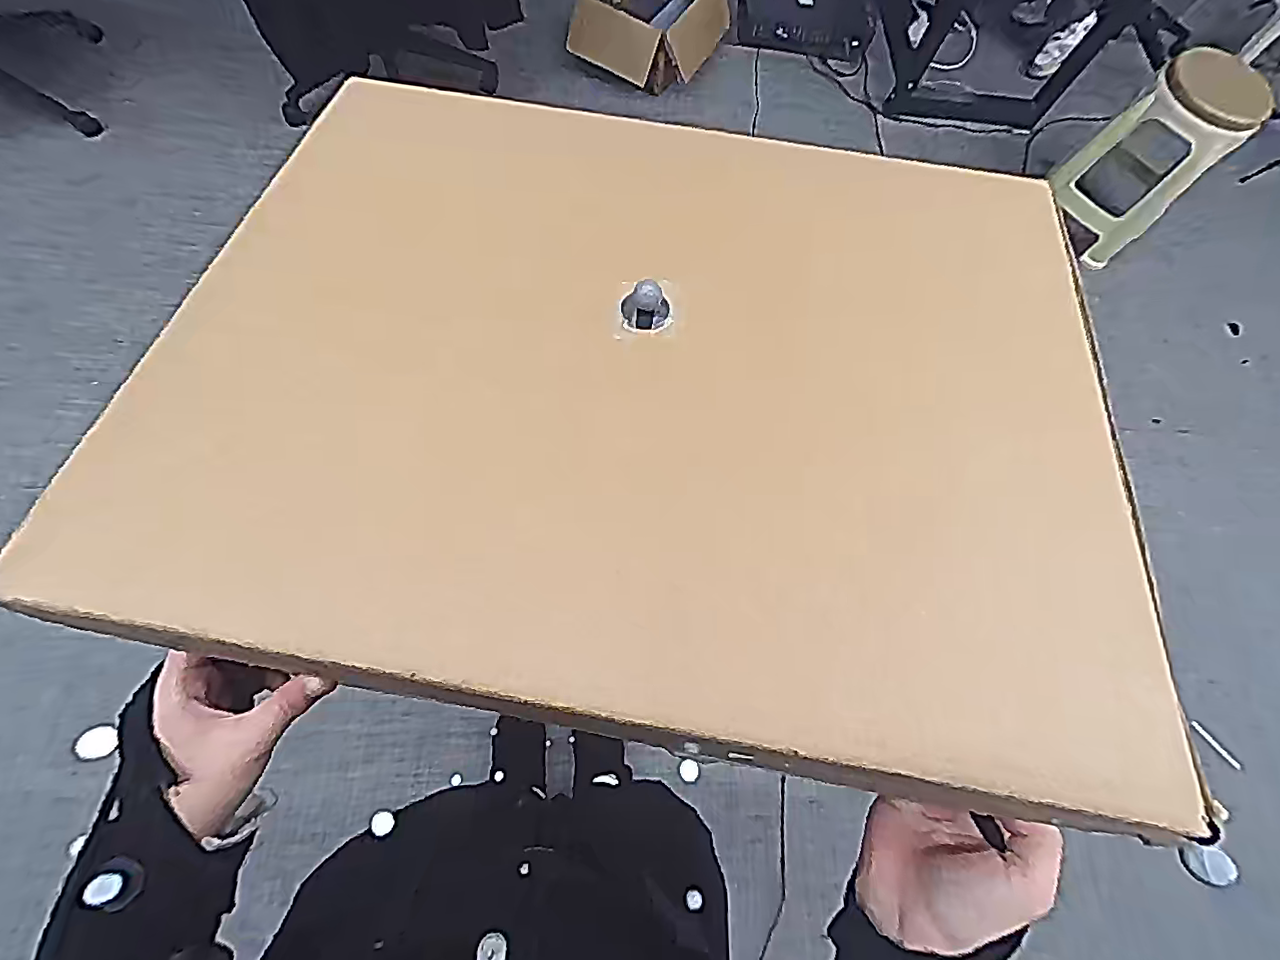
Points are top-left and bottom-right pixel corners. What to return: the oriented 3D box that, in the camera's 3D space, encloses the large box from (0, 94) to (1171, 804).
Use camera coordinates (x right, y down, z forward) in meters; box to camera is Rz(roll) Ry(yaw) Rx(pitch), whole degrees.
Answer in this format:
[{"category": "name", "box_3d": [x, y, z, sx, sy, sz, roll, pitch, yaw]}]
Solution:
[{"category": "large box", "box_3d": [-0.016, -0.003, 0.371, 0.408, 0.320, 0.320, 8, 66, 3]}]
